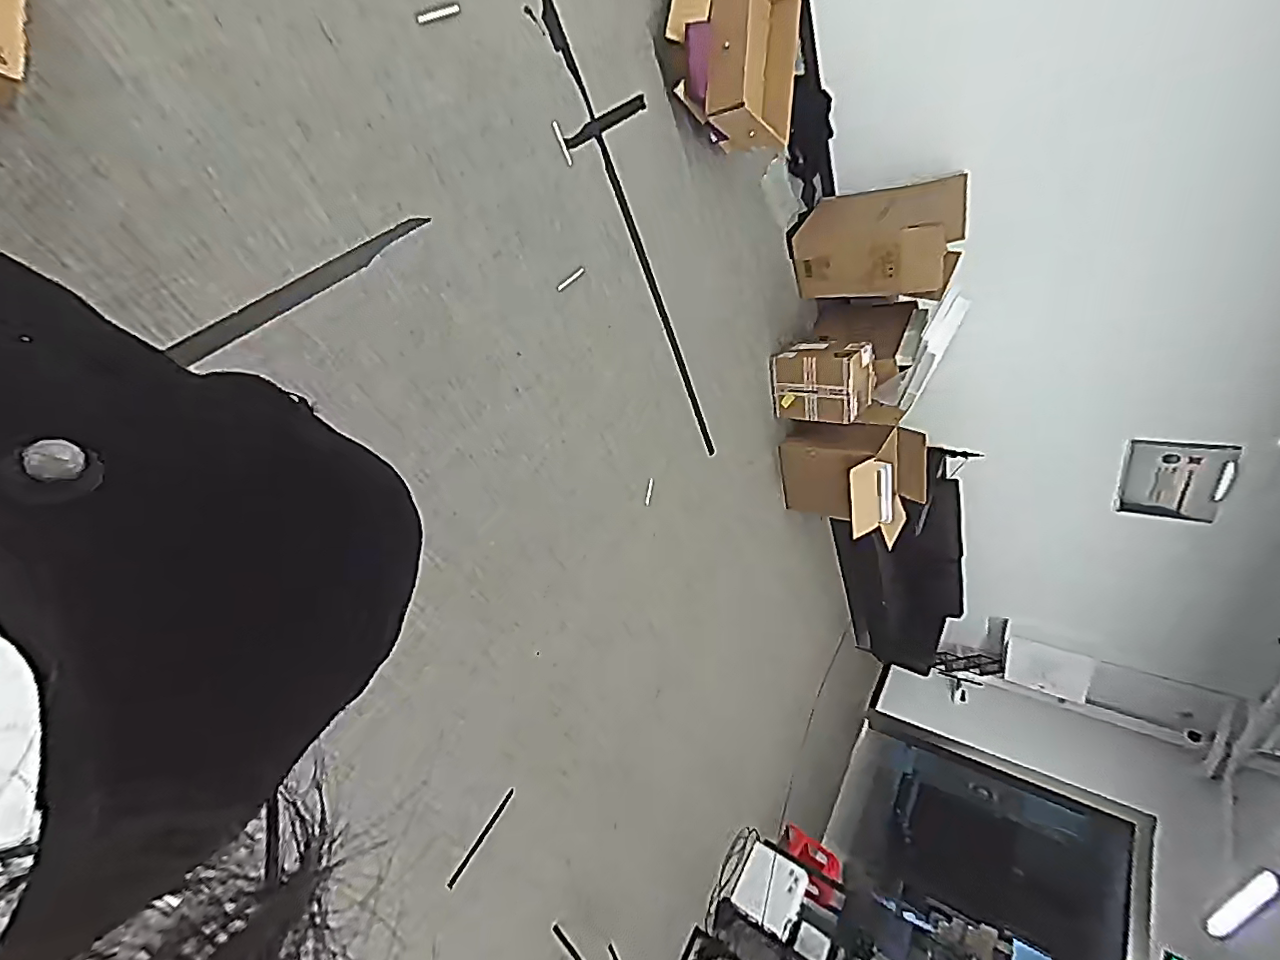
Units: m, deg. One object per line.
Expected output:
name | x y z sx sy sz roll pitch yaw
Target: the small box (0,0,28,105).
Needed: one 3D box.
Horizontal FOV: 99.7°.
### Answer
small box | -1.081 -0.733 0.837 0.168 0.176 0.179 1 97 -51
